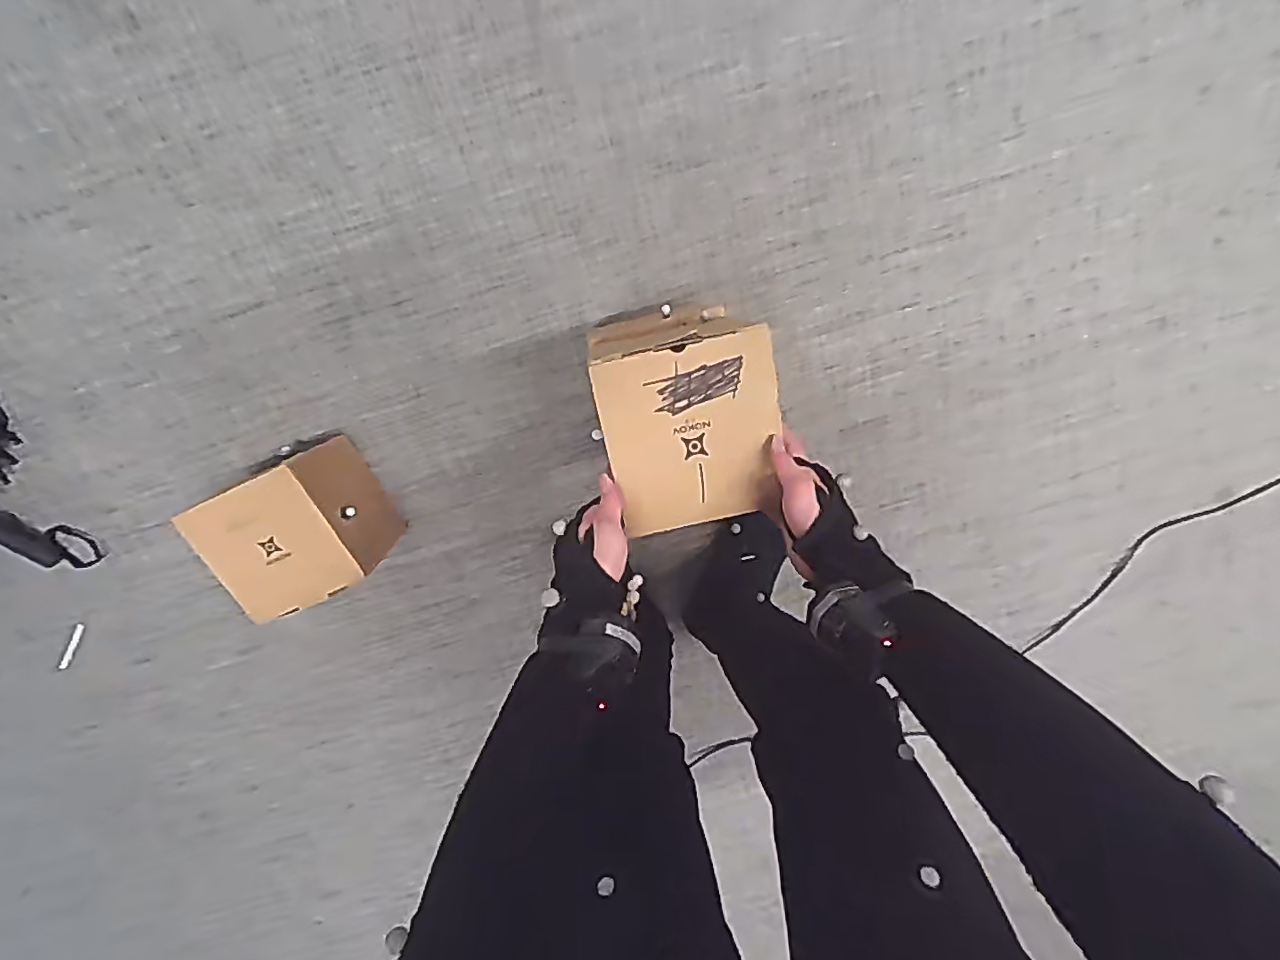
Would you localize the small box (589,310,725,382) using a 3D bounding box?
[{"bbox_3d":[0.033,-0.125,0.740,0.168,0.176,0.179,-14,109,0],"label":"small box"}]

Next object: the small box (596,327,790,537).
[{"bbox_3d":[0.048,-0.064,0.586,0.168,0.176,0.179,-12,109,0],"label":"small box"}]
